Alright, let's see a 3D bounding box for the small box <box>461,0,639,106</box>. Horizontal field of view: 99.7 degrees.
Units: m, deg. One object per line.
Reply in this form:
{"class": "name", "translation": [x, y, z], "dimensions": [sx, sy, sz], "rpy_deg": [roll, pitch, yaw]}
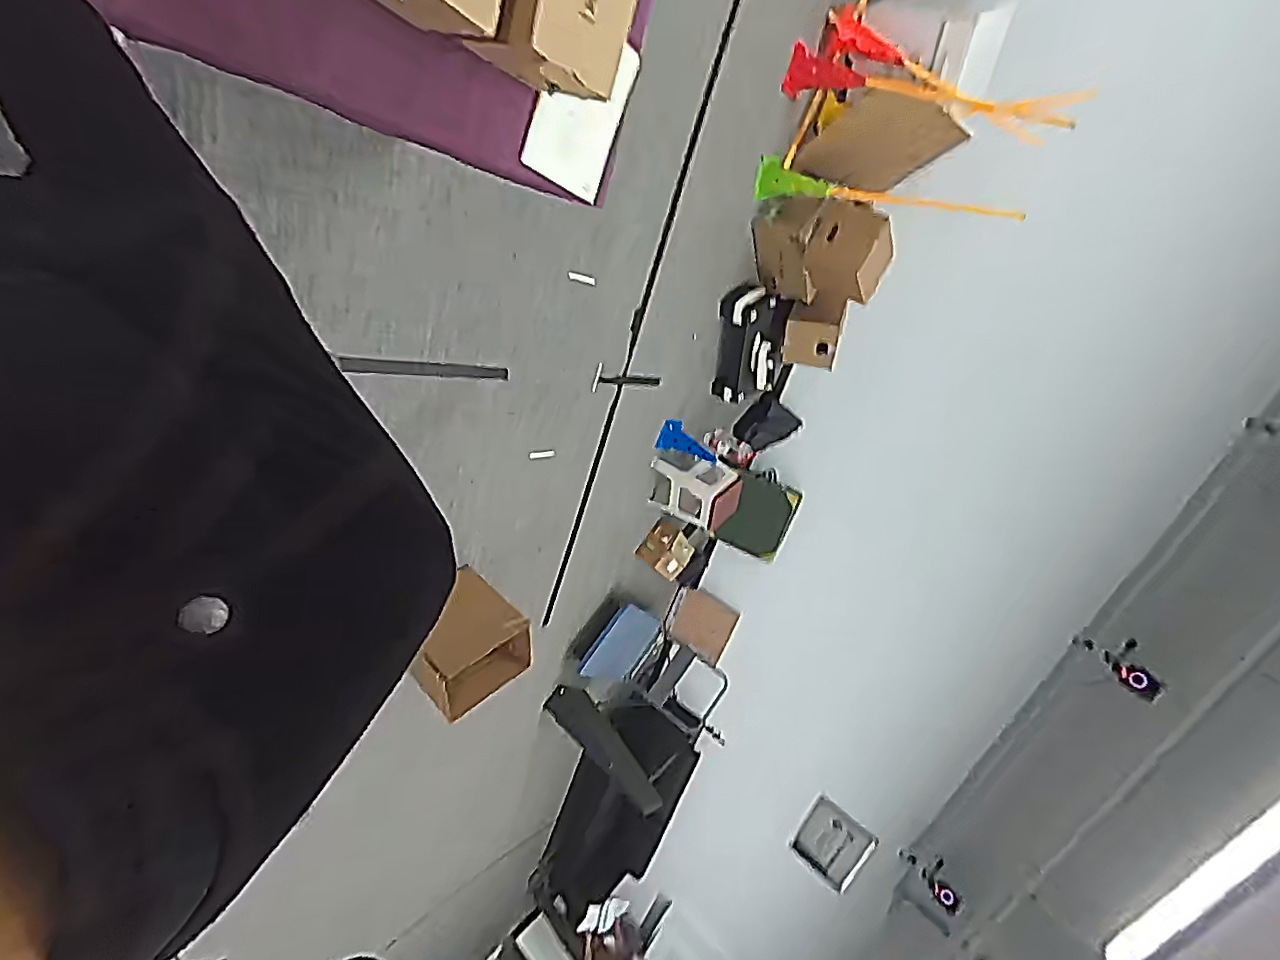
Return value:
{"class": "small box", "translation": [-0.127, -0.670, 0.763], "dimensions": [0.168, 0.176, 0.179], "rpy_deg": [-11, 126, -54]}
